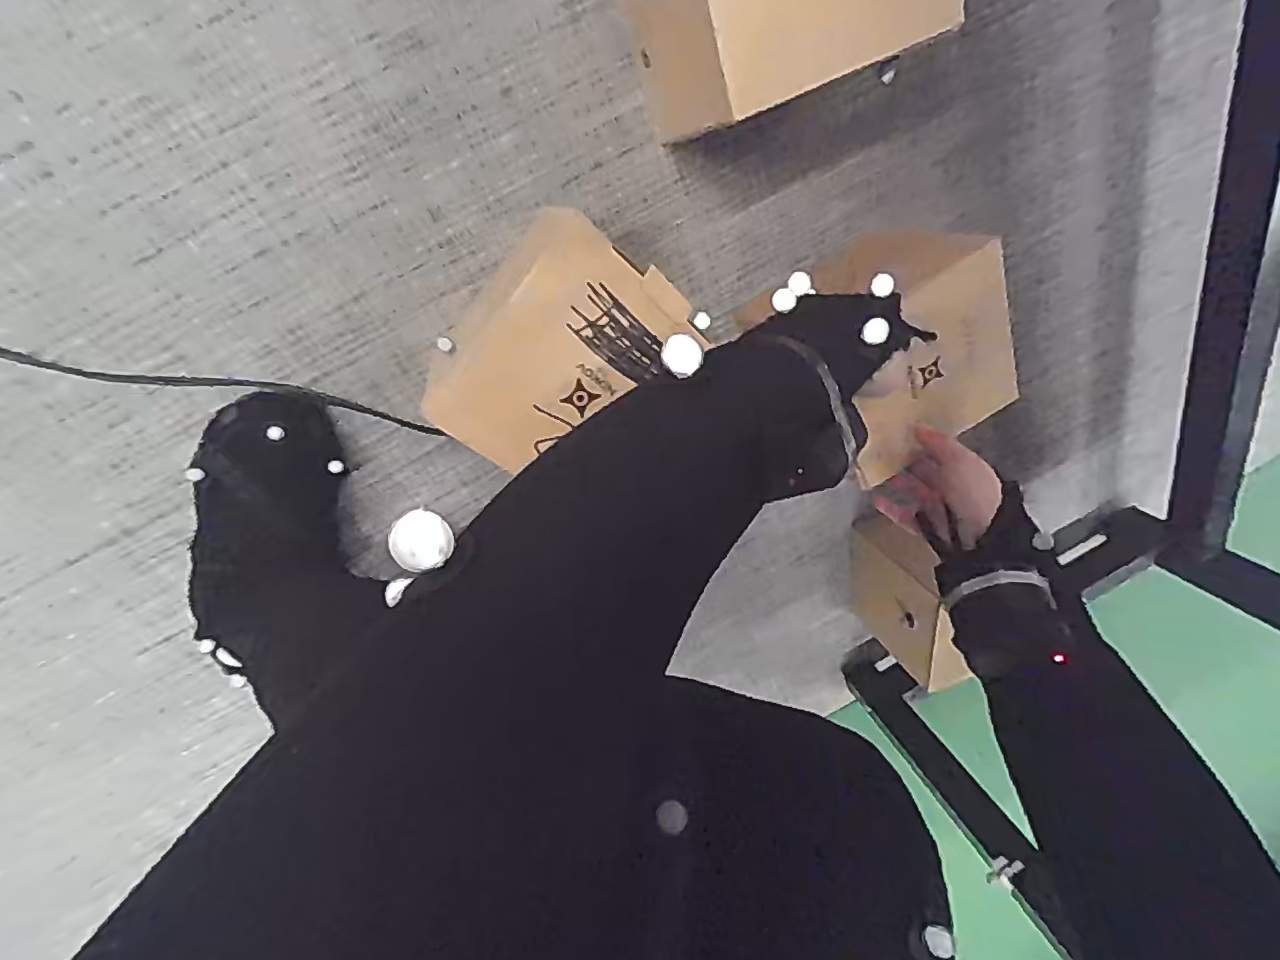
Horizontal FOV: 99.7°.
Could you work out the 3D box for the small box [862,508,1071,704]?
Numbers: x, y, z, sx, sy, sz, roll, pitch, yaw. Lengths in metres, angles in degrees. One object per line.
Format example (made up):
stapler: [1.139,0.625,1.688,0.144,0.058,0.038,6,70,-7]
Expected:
small box: [0.422,0.157,0.731,0.168,0.176,0.179,-17,121,-7]

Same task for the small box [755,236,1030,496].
small box: [0.235,-0.121,0.538,0.179,0.176,0.168,-33,121,0]

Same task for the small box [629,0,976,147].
small box: [0.093,-0.358,0.378,0.179,0.176,0.168,-25,120,-4]
